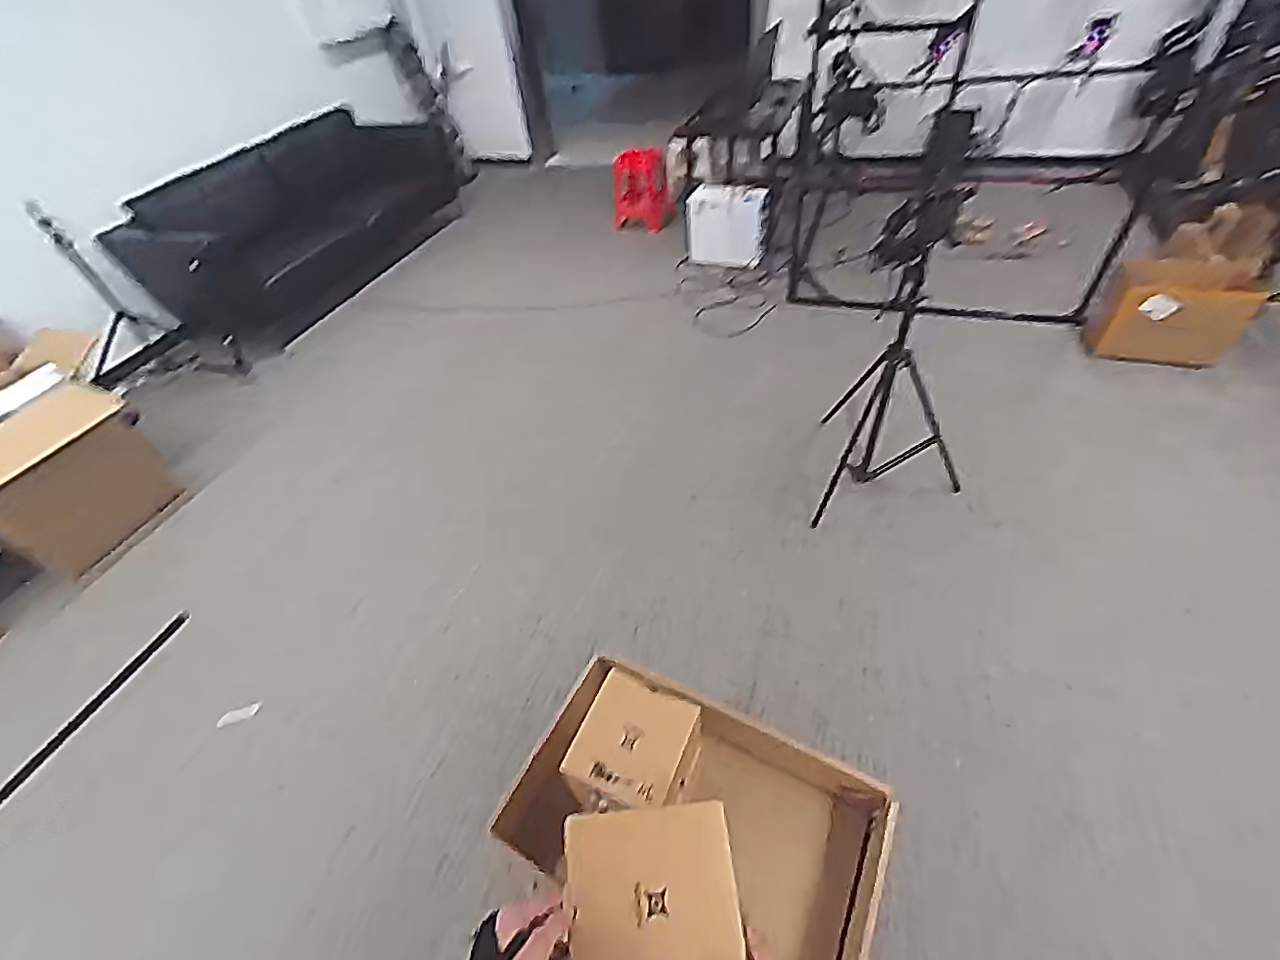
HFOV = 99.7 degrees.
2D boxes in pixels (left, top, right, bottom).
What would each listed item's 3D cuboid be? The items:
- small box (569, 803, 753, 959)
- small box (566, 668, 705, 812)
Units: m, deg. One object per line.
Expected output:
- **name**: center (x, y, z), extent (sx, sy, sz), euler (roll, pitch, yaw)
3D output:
- **small box**: center (0.022, 0.465, 0.608), extent (0.179, 0.176, 0.168), euler (-7, 58, 1)
- **small box**: center (-0.001, 0.455, 0.900), extent (0.168, 0.176, 0.179), euler (17, 50, 21)
